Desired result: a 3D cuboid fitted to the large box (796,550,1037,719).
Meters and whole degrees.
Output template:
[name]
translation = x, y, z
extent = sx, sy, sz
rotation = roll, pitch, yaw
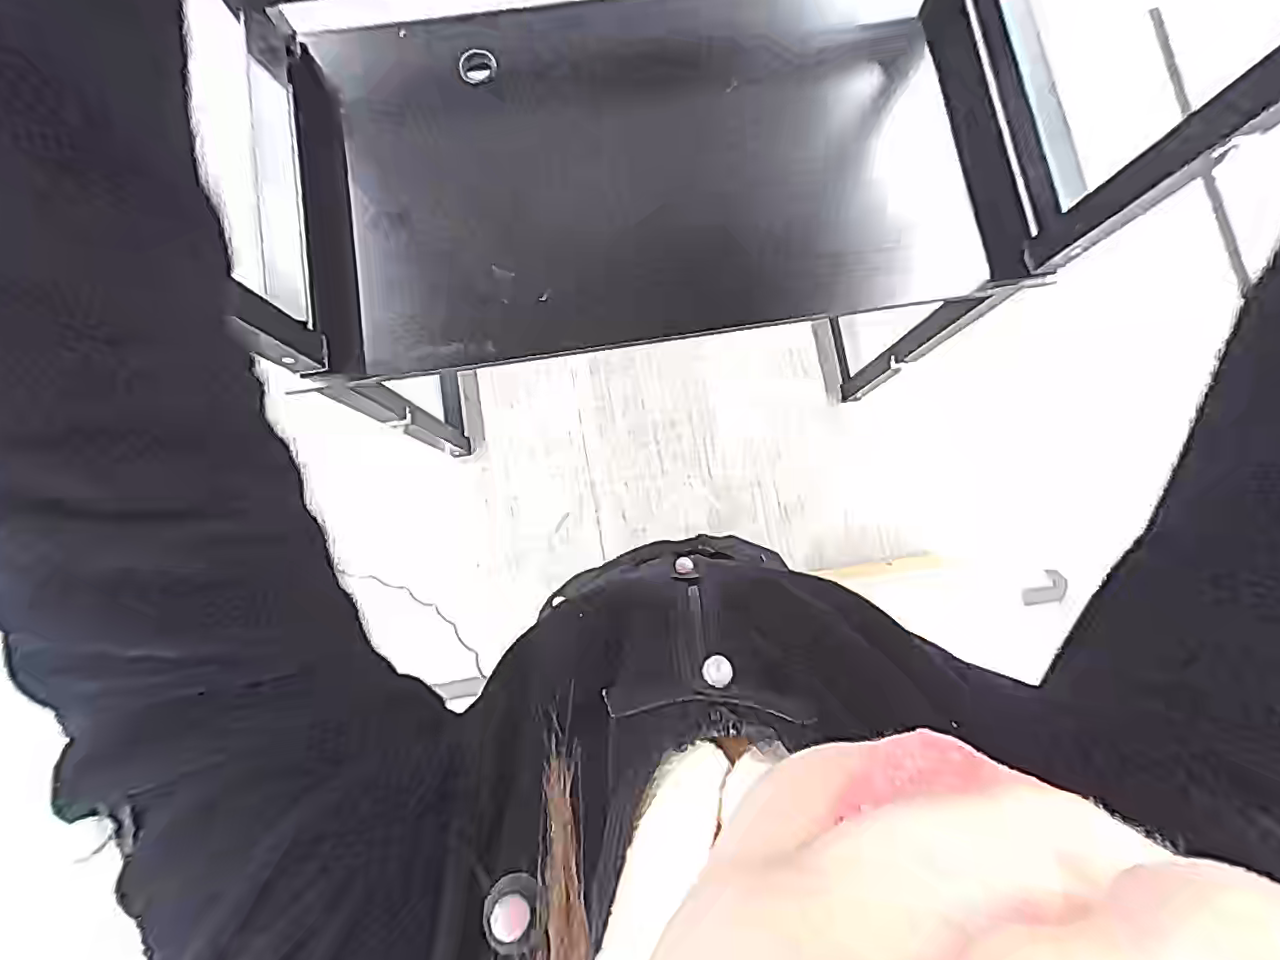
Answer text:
[large box]
translation = 0.654, 0.359, 1.346
extent = 0.408, 0.320, 0.320
rotation = -9, 84, -2
